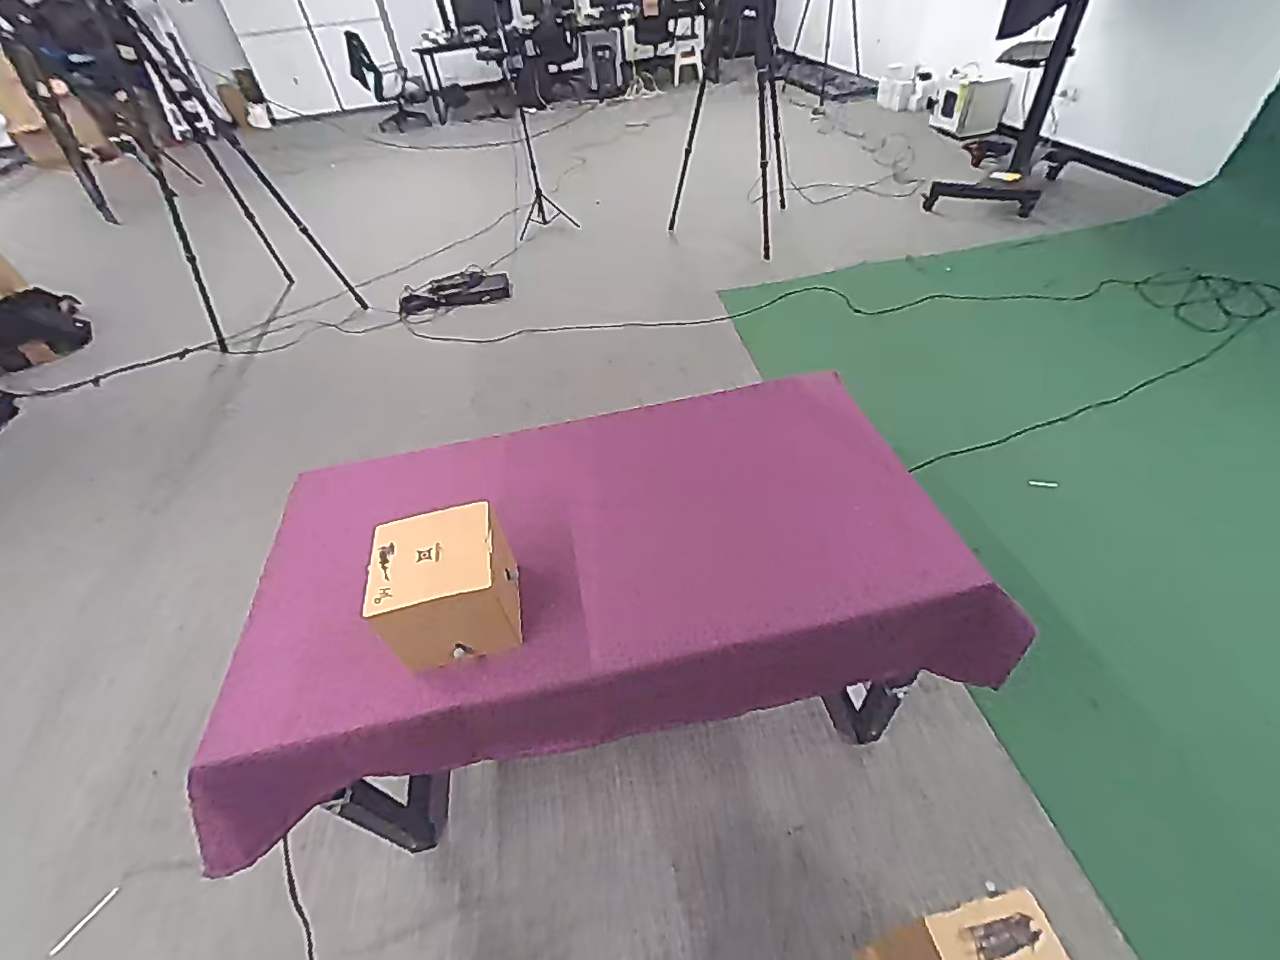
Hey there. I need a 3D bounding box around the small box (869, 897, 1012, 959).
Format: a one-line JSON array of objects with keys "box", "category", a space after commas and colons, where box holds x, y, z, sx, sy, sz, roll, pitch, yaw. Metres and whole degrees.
[{"box": [0.508, 0.822, 0.892, 0.168, 0.176, 0.179, -10, 46, -5], "category": "small box"}]

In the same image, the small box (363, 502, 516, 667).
[{"box": [-0.293, 0.162, 0.833, 0.179, 0.176, 0.168, -12, 46, -6], "category": "small box"}]
